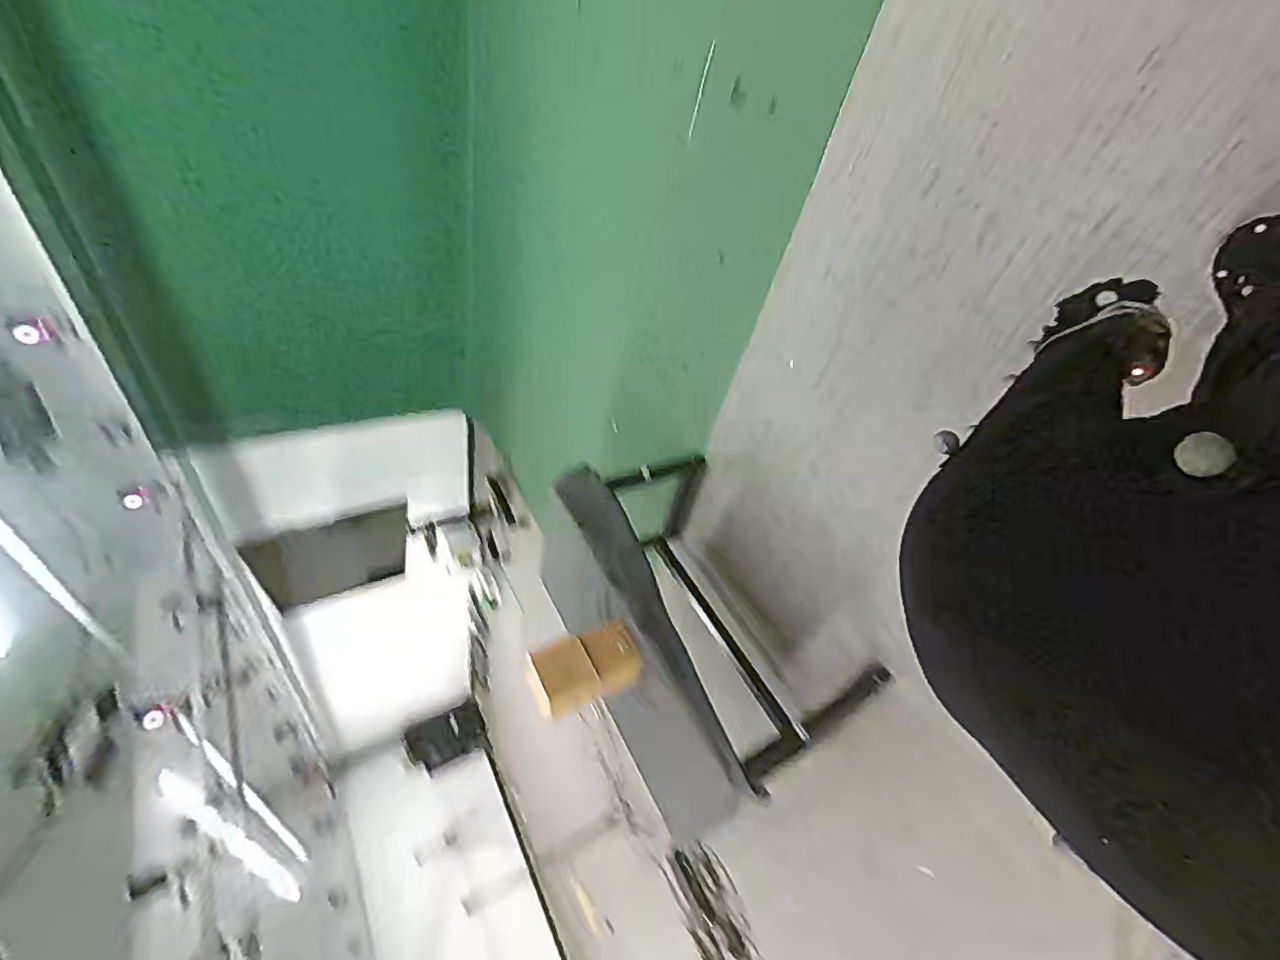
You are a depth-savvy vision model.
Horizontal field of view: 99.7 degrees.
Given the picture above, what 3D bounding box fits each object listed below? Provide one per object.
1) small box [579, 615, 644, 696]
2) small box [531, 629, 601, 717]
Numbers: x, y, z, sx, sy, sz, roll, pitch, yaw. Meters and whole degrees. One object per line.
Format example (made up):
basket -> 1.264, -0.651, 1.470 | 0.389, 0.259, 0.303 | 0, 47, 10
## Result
small box -> -0.105, 0.585, 1.815 | 0.168, 0.176, 0.179 | 52, 143, 34
small box -> -0.239, 0.612, 1.728 | 0.179, 0.176, 0.168 | 53, 147, 35
